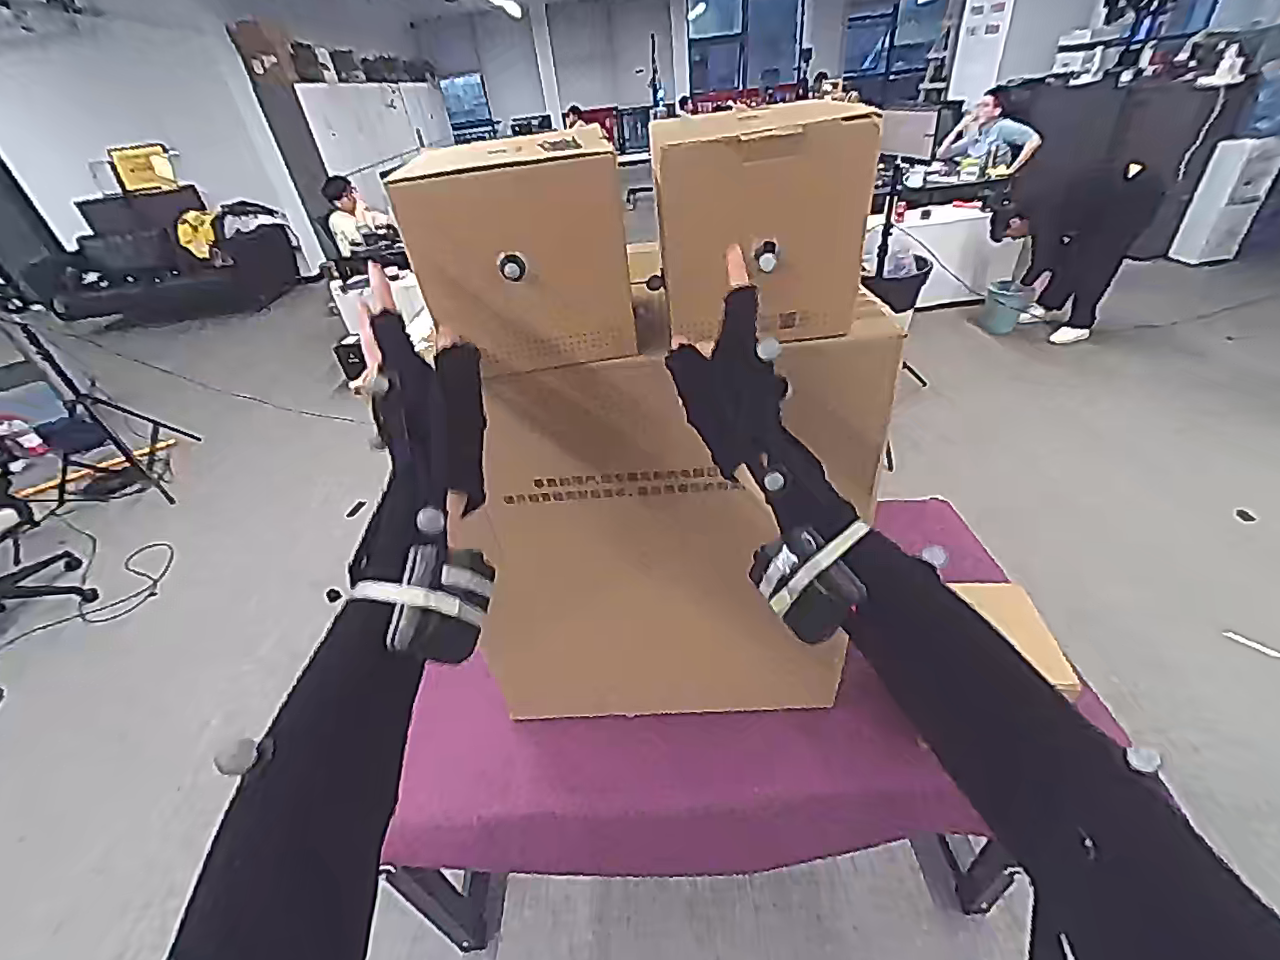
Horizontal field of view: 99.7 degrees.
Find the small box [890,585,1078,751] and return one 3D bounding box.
[{"bbox_3d":[0.489,0.277,0.802,0.168,0.176,0.179,-1,35,8],"label":"small box"}]
